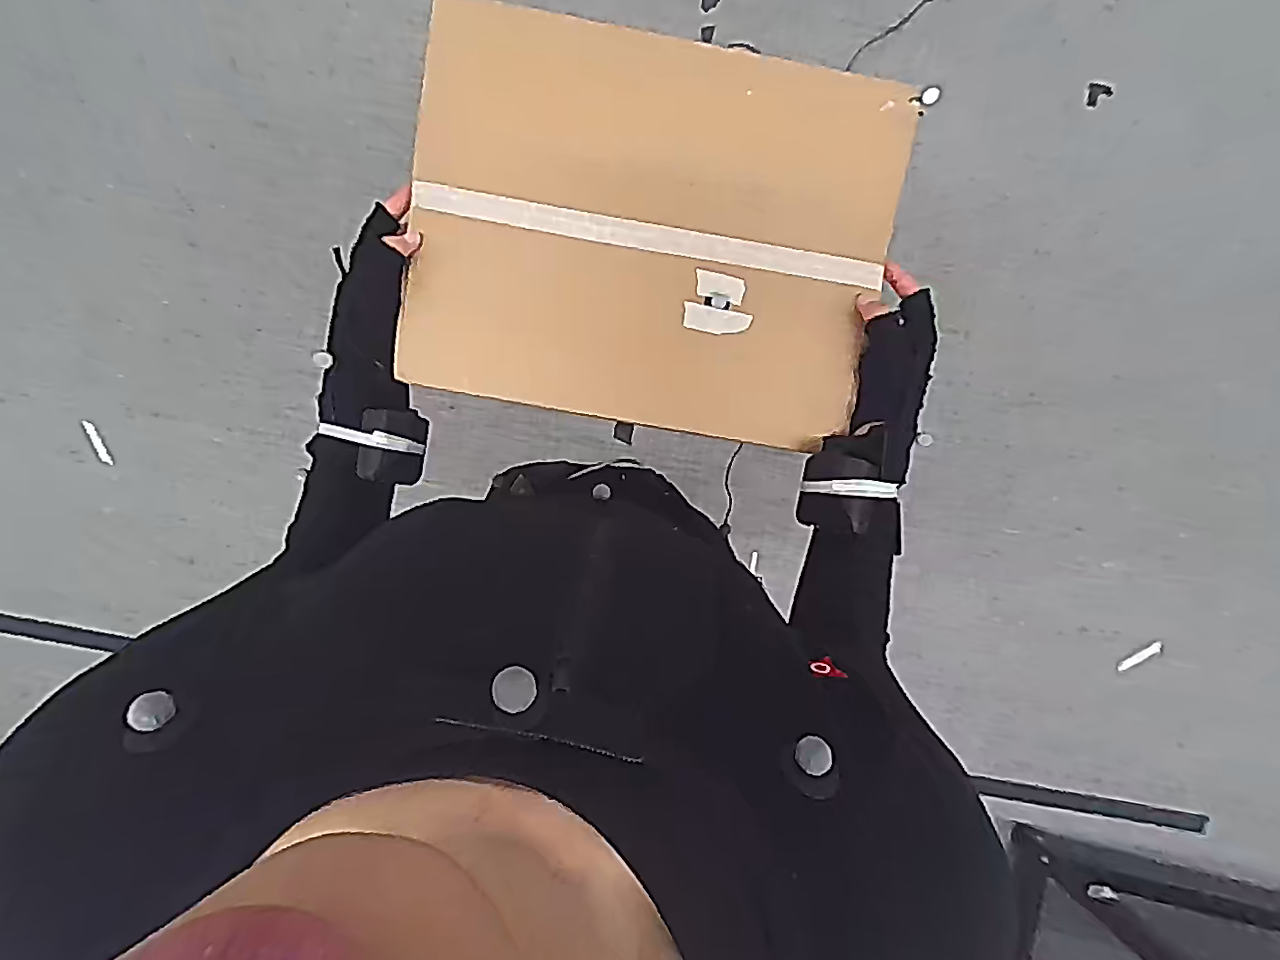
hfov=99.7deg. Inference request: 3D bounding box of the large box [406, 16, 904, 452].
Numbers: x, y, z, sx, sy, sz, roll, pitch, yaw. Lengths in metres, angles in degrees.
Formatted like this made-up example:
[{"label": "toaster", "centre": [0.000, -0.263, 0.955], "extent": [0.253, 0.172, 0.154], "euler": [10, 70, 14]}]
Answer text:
[{"label": "large box", "centre": [0.003, -0.225, 0.620], "extent": [0.408, 0.320, 0.320], "euler": [10, 98, -3]}]
